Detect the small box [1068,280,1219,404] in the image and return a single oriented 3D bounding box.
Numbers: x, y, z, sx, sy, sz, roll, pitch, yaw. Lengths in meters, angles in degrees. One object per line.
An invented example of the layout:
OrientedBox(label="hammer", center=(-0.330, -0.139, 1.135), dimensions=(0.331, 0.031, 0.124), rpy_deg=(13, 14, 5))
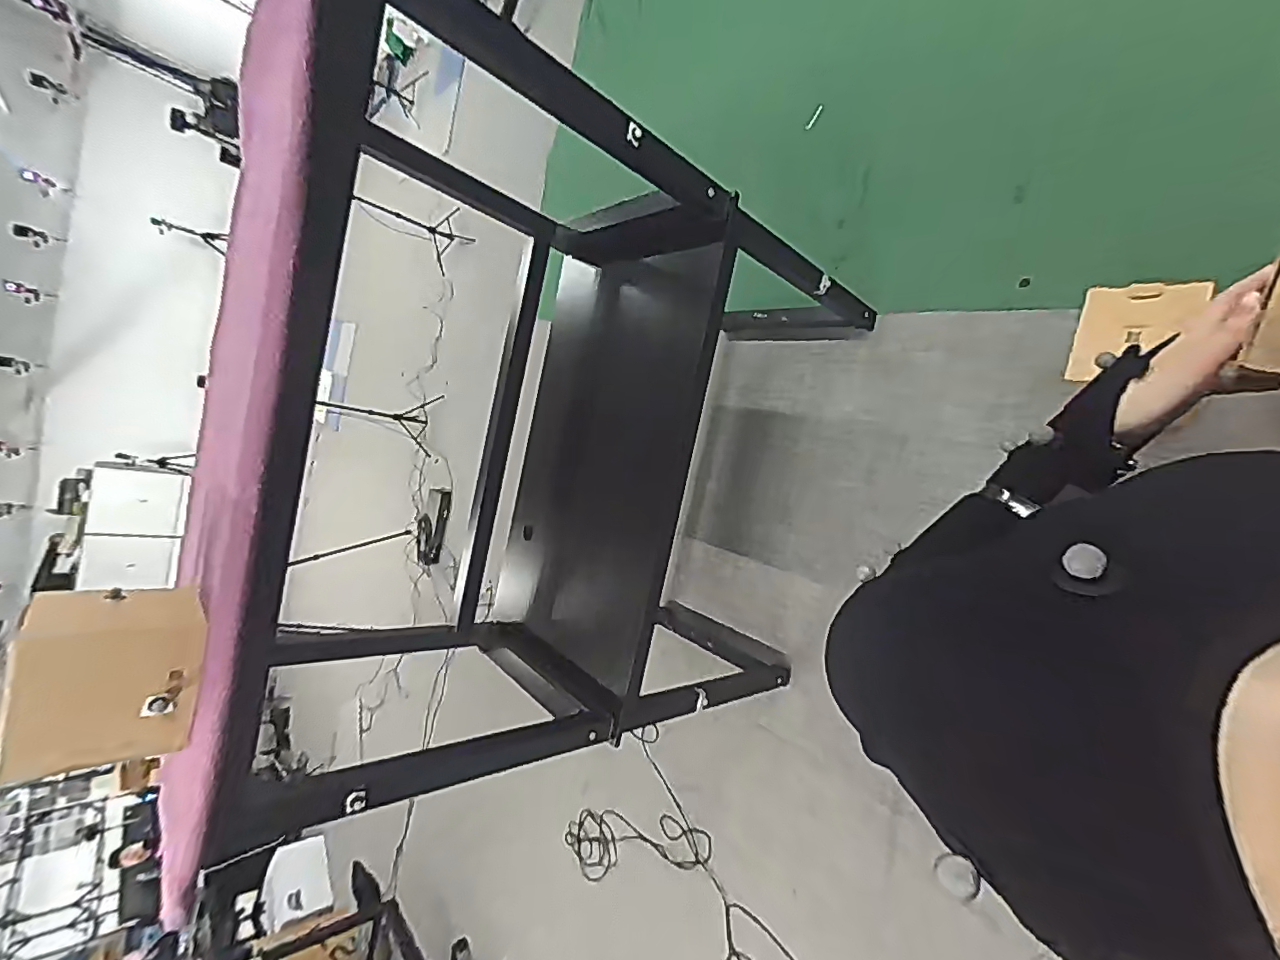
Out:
OrientedBox(label="small box", center=(0.919, -0.243, 0.985), dimensions=(0.168, 0.176, 0.179), rpy_deg=(16, 94, 48))

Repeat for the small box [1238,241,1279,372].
OrientedBox(label="small box", center=(0.449, -0.127, 0.264), dimensions=(0.179, 0.176, 0.168), rpy_deg=(23, 114, 43))

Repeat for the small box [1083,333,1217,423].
OrientedBox(label="small box", center=(1.035, -0.217, 1.095), dimensions=(0.168, 0.176, 0.179), rpy_deg=(14, 94, 47))

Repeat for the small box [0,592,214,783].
OrientedBox(label="small box", center=(-0.672, 0.246, 0.695), dimensions=(0.179, 0.176, 0.168), rpy_deg=(11, 92, 46))
